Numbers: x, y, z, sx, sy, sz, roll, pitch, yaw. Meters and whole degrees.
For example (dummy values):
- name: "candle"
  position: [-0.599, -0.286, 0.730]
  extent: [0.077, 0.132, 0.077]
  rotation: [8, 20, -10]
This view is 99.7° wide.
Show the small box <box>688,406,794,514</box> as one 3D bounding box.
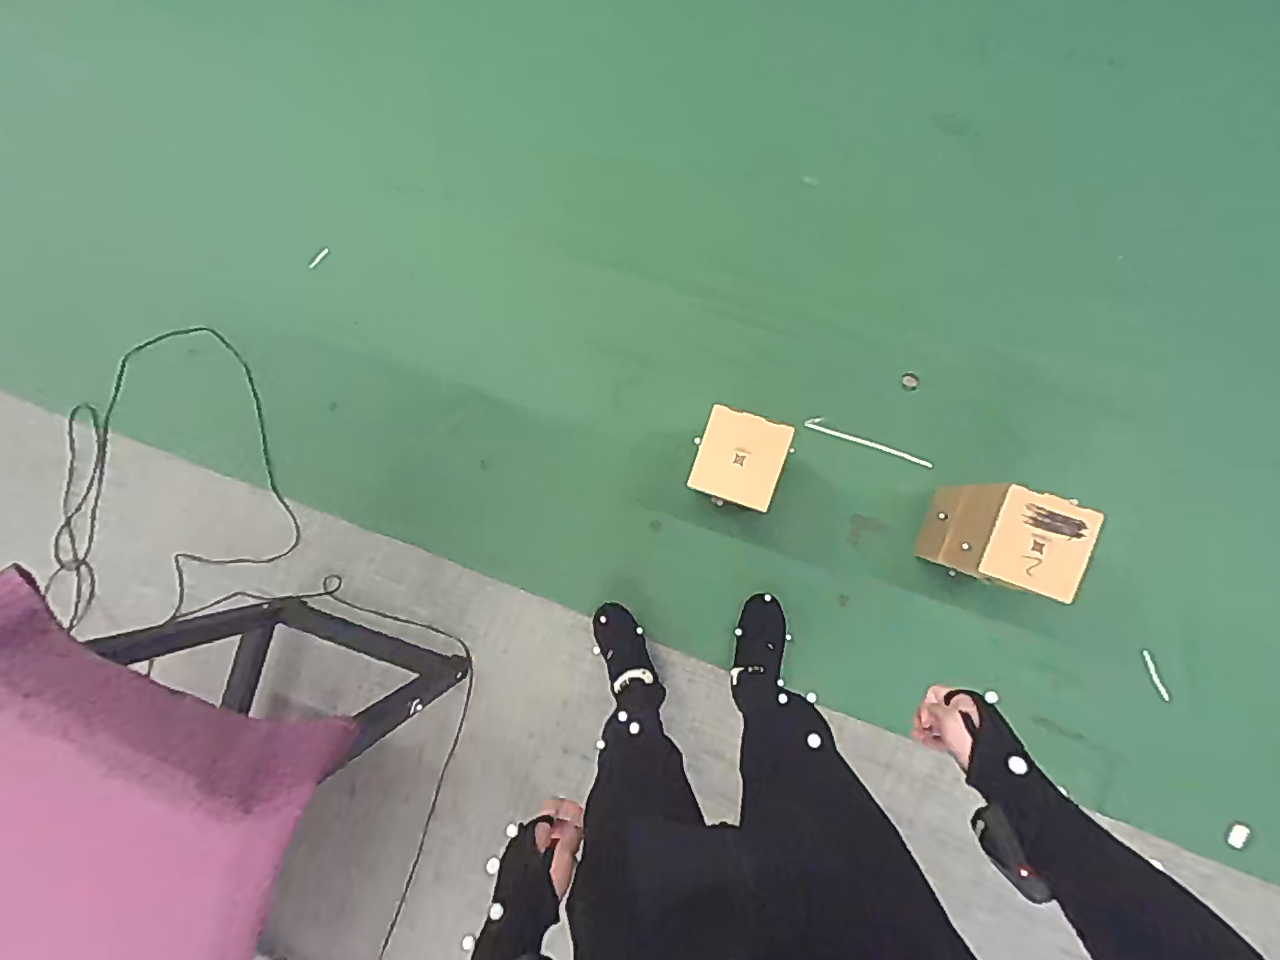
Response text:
- name: "small box"
  position: [0.212, -0.035, 1.138]
  extent: [0.168, 0.176, 0.179]
  rotation: [19, 89, 10]

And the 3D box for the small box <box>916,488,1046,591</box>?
- name: "small box"
  position: [0.752, 0.127, 1.214]
  extent: [0.168, 0.176, 0.179]
  rotation: [21, 91, 9]
